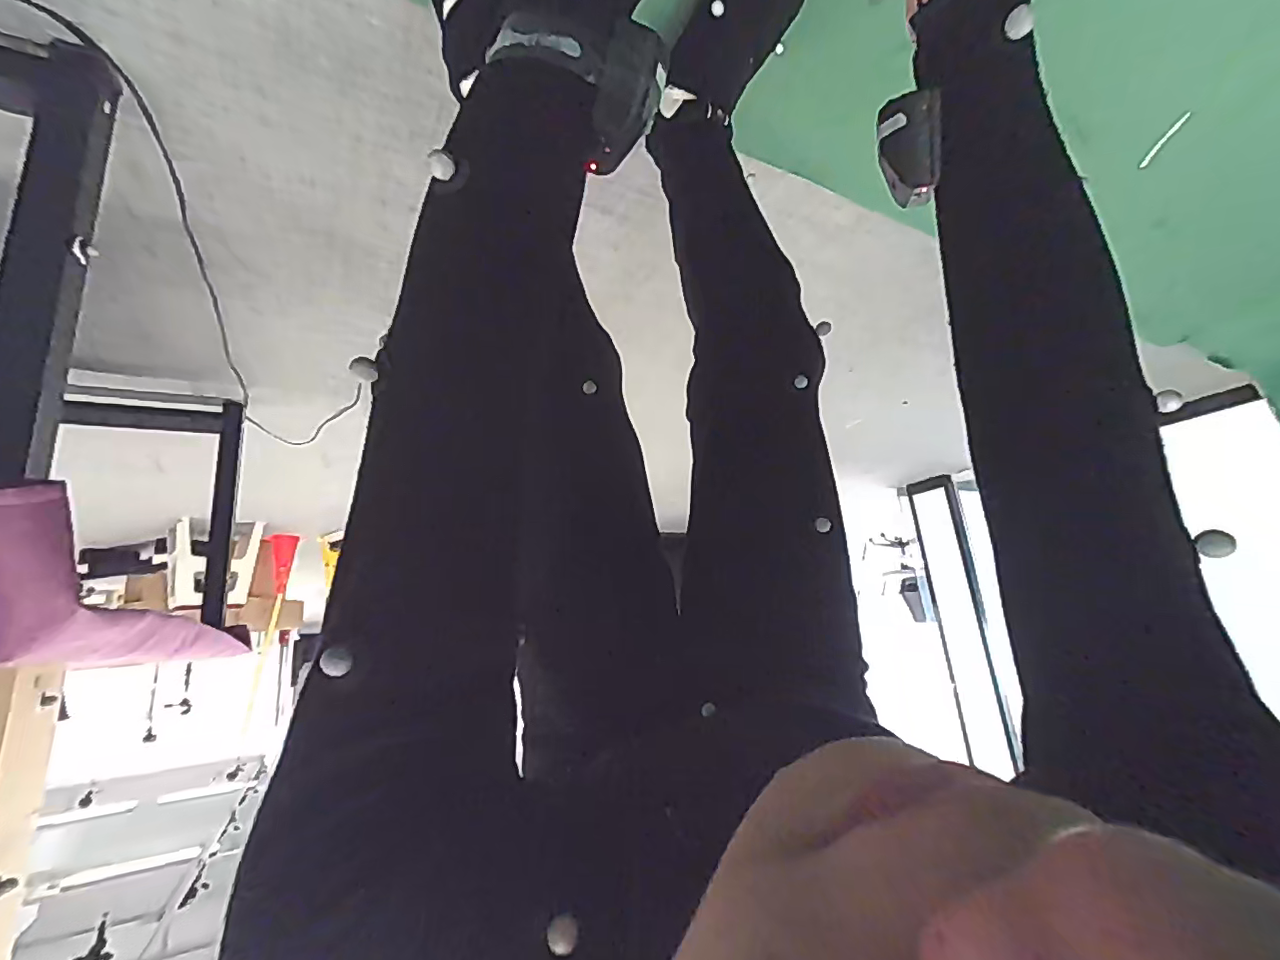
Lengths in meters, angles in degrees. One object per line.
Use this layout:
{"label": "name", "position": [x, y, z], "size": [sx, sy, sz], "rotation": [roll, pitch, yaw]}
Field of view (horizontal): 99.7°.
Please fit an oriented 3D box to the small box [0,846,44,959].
{"label": "small box", "position": [-0.713, 0.456, 0.489], "size": [0.179, 0.176, 0.168], "rotation": [7, 160, -28]}
